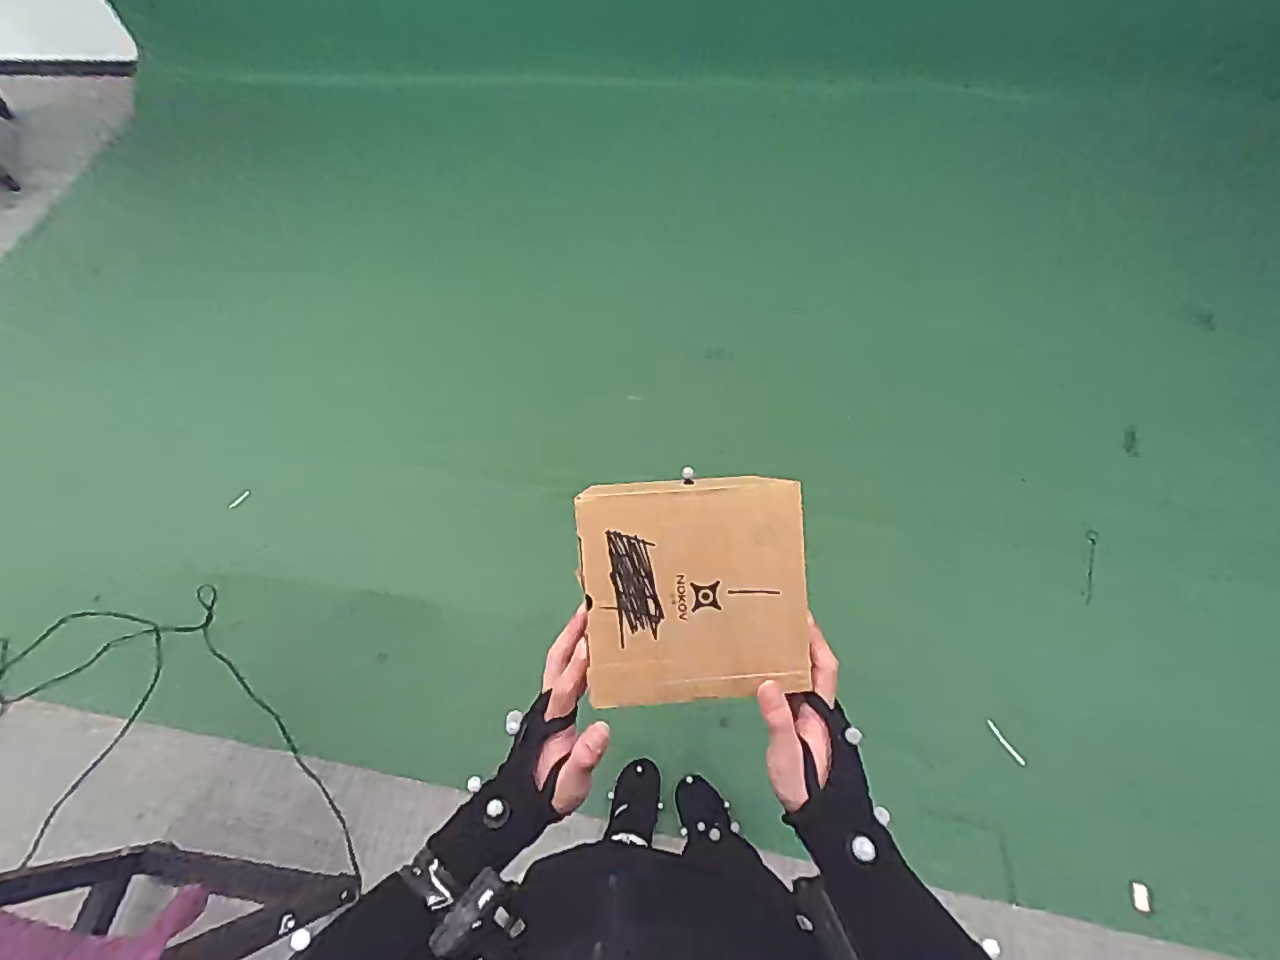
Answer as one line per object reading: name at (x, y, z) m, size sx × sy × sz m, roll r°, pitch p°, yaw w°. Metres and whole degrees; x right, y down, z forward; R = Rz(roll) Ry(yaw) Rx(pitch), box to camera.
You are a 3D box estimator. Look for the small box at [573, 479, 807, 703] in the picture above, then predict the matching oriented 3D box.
small box at (0.038, 0.086, 0.498) m, size 0.179 × 0.176 × 0.168 m, roll -4°, pitch 91°, yaw -1°
